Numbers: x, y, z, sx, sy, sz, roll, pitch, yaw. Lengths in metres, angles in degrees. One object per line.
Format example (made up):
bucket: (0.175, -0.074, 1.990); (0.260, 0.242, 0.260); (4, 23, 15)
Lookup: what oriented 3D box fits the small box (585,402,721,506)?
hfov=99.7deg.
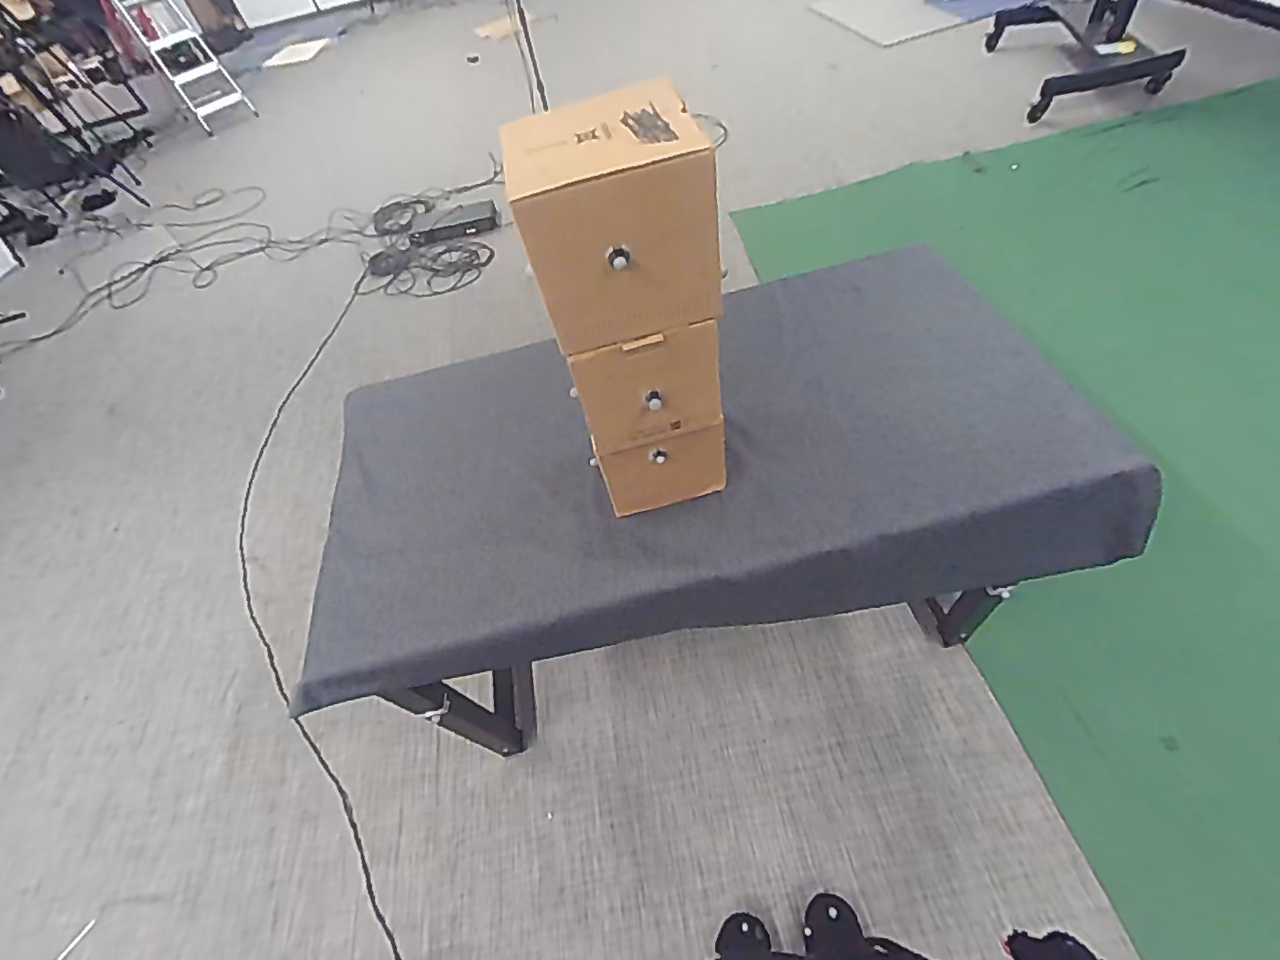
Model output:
small box: (0.016, -0.081, 0.810); (0.179, 0.176, 0.168); (-14, 54, -1)

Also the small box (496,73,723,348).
small box: (-0.026, -0.262, 0.539); (0.179, 0.176, 0.168); (-16, 54, -2)

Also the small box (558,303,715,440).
small box: (-0.008, -0.170, 0.675); (0.168, 0.176, 0.179); (-15, 55, 0)
